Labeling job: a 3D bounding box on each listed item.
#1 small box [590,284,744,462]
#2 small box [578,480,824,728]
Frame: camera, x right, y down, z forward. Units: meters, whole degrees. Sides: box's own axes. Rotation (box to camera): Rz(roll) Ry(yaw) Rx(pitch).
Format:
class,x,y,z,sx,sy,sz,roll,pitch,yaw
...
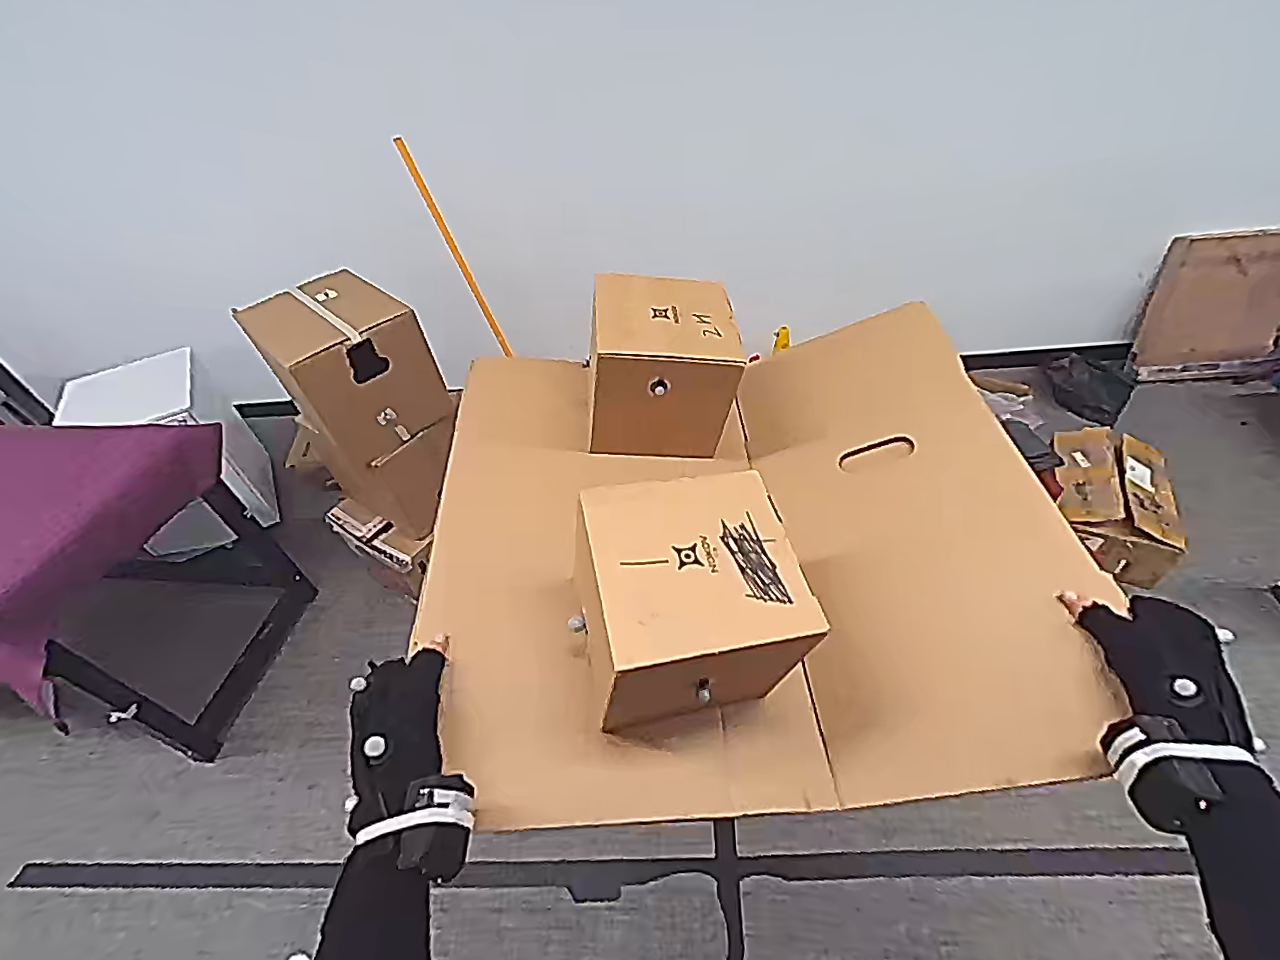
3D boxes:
class,x,y,z,sx,sy,sz,roll,pitch,yaw
small box,0.023,-0.139,0.729,0.179,0.176,0.168,3,51,-8
small box,0.039,0.121,0.522,0.179,0.176,0.168,-6,53,-13
